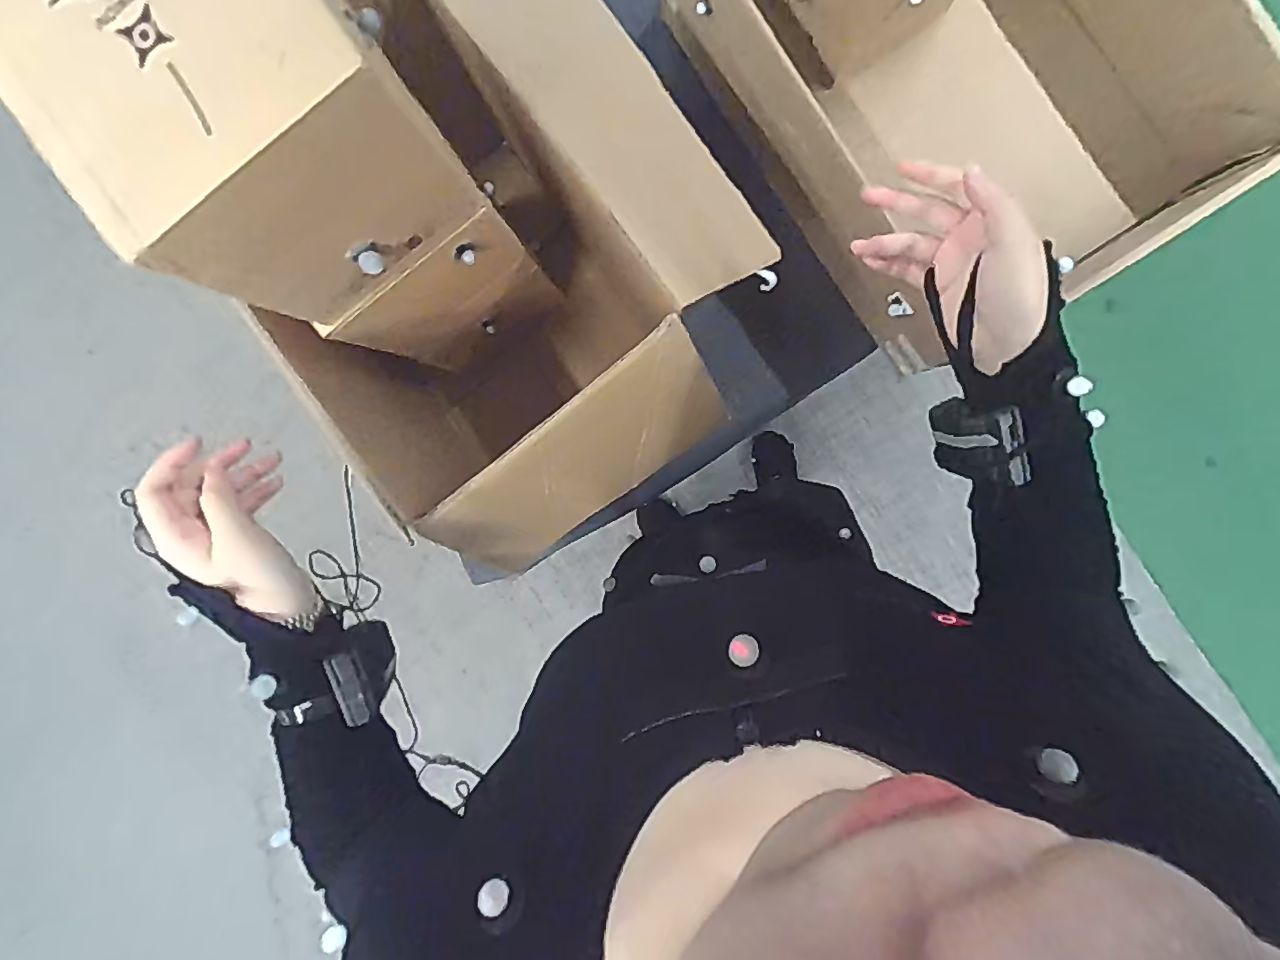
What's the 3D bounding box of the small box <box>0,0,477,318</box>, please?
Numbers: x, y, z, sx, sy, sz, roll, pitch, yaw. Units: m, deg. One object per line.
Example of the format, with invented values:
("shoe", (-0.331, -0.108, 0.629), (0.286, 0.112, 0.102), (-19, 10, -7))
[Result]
("small box", (-0.241, -0.233, 0.353), (0.168, 0.176, 0.179), (-34, 93, 6))
